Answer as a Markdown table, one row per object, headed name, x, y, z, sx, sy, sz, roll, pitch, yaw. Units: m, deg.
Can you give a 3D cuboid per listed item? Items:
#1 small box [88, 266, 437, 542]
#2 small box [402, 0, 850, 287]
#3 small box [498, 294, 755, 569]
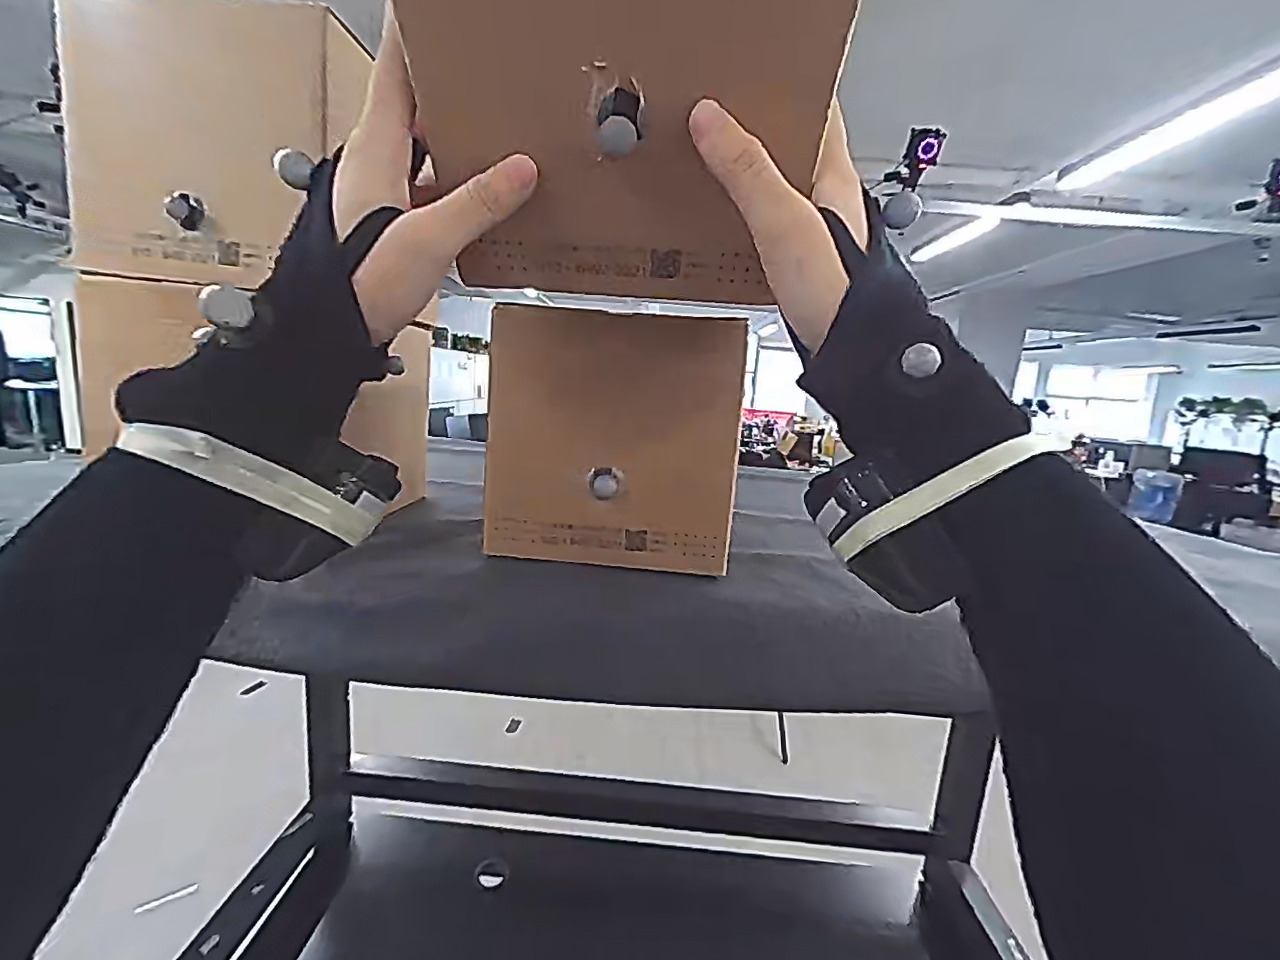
| name | x | y | z | sx | sy | sz | roll | pitch | yaw |
| --- | --- | --- | --- | --- | --- | --- | --- | --- | --- |
| small box | -0.283 | -0.059 | 0.439 | 0.168 | 0.176 | 0.179 | 6 | 9 | 0 |
| small box | 0.000 | -0.213 | 0.263 | 0.168 | 0.176 | 0.179 | 4 | 51 | 1 |
| small box | -0.010 | -0.039 | 0.431 | 0.168 | 0.176 | 0.179 | 4 | 8 | 3 |
